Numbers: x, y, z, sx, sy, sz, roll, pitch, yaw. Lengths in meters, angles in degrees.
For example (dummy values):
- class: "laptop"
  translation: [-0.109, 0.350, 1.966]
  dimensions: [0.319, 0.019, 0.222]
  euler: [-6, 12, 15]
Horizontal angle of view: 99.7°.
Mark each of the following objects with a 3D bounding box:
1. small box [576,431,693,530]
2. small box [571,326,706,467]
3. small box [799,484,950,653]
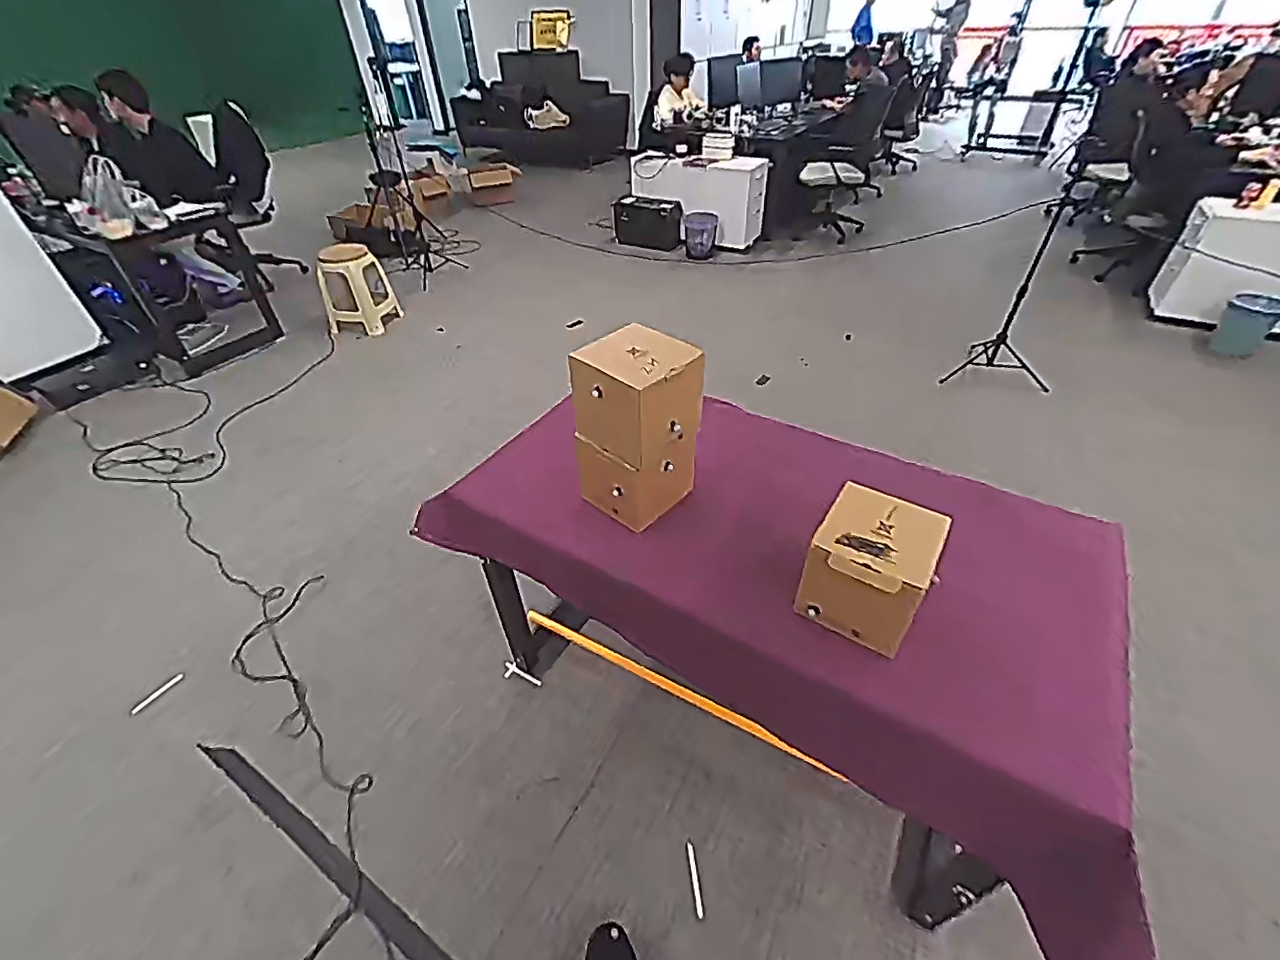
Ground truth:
- class: "small box"
  translation: [-0.005, -0.030, 1.088]
  dimensions: [0.168, 0.176, 0.179]
  euler: [31, 50, 31]
- class: "small box"
  translation: [-0.003, -0.152, 0.979]
  dimensions: [0.179, 0.176, 0.168]
  euler: [32, 52, 32]
- class: "small box"
  translation: [0.370, 0.143, 0.874]
  dimensions: [0.168, 0.176, 0.179]
  euler: [24, 46, 26]
